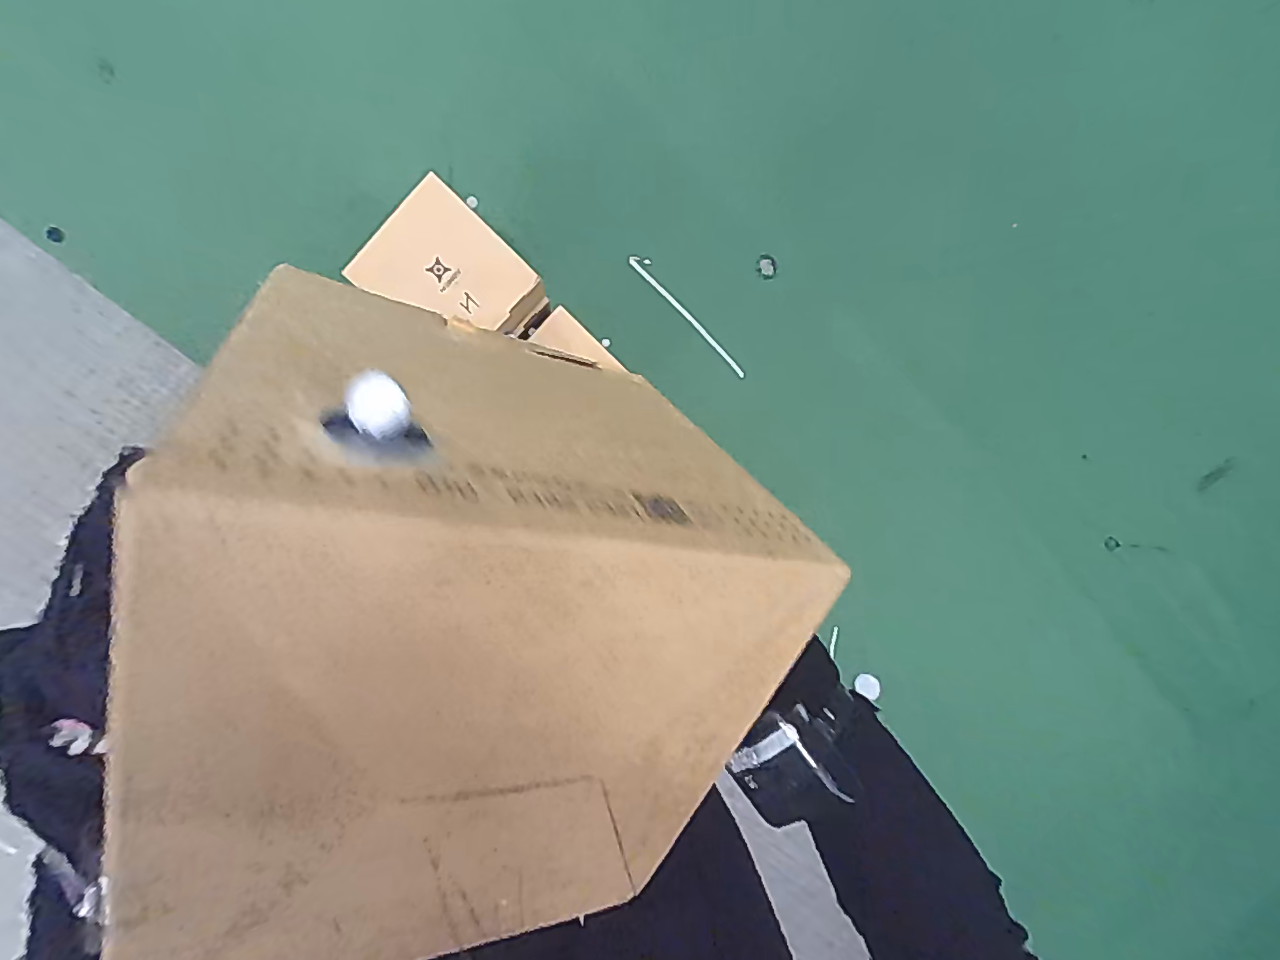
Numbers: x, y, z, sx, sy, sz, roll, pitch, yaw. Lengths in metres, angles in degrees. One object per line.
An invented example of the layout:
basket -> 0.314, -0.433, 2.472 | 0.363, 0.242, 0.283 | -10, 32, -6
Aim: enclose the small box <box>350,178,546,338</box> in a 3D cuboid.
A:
small box -> -0.249, -0.265, 0.748 | 0.179, 0.176, 0.168 | 43, 93, -14
